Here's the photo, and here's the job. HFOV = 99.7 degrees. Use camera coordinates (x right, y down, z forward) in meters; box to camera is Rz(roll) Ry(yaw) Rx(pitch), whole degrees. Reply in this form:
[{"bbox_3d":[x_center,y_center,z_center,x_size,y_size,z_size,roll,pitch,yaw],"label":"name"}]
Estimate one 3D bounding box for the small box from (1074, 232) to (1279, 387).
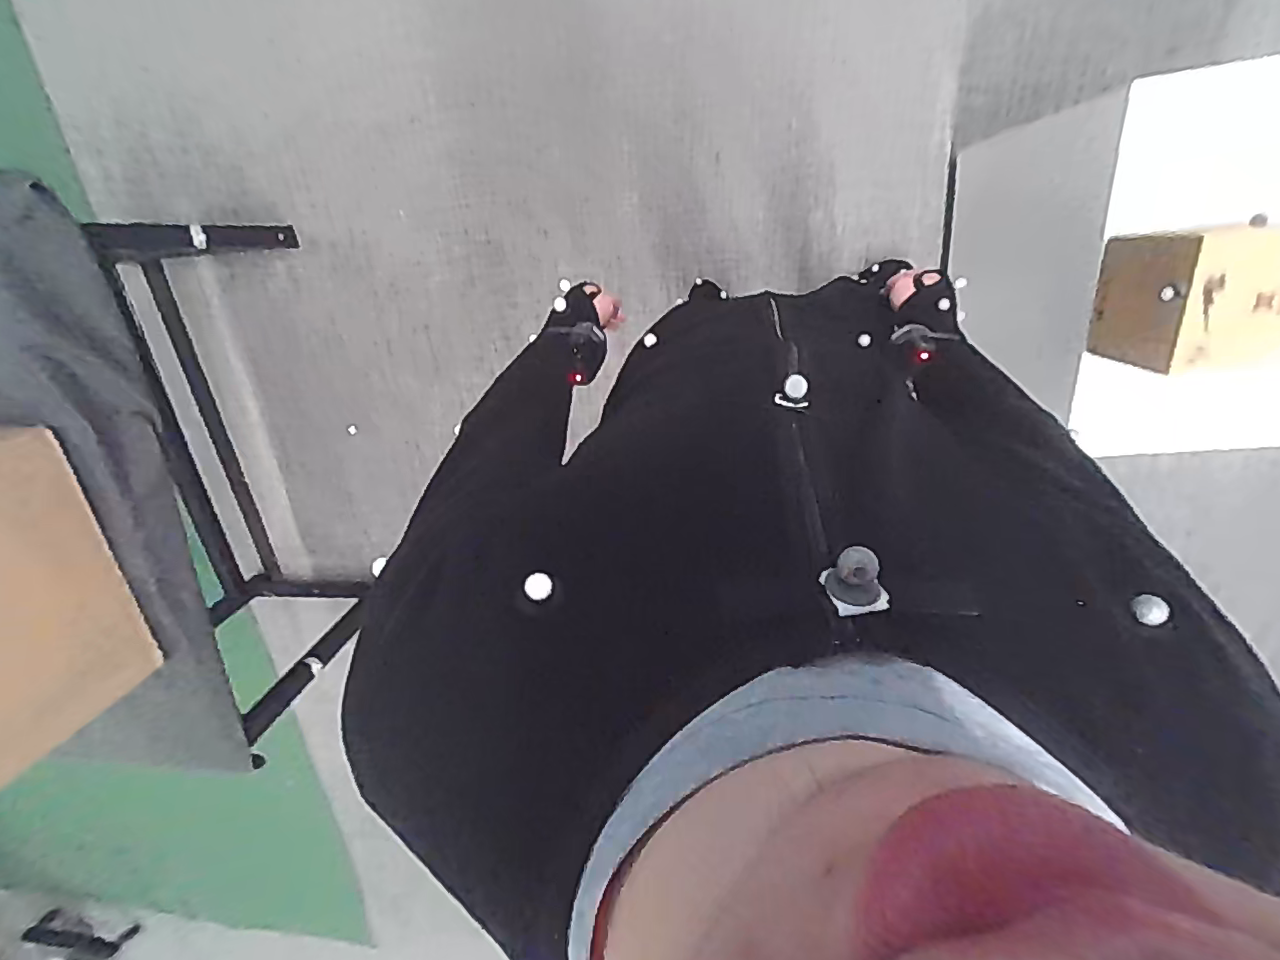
[{"bbox_3d":[0.722,-0.225,0.700,0.179,0.176,0.168,-3,112,8],"label":"small box"}]
